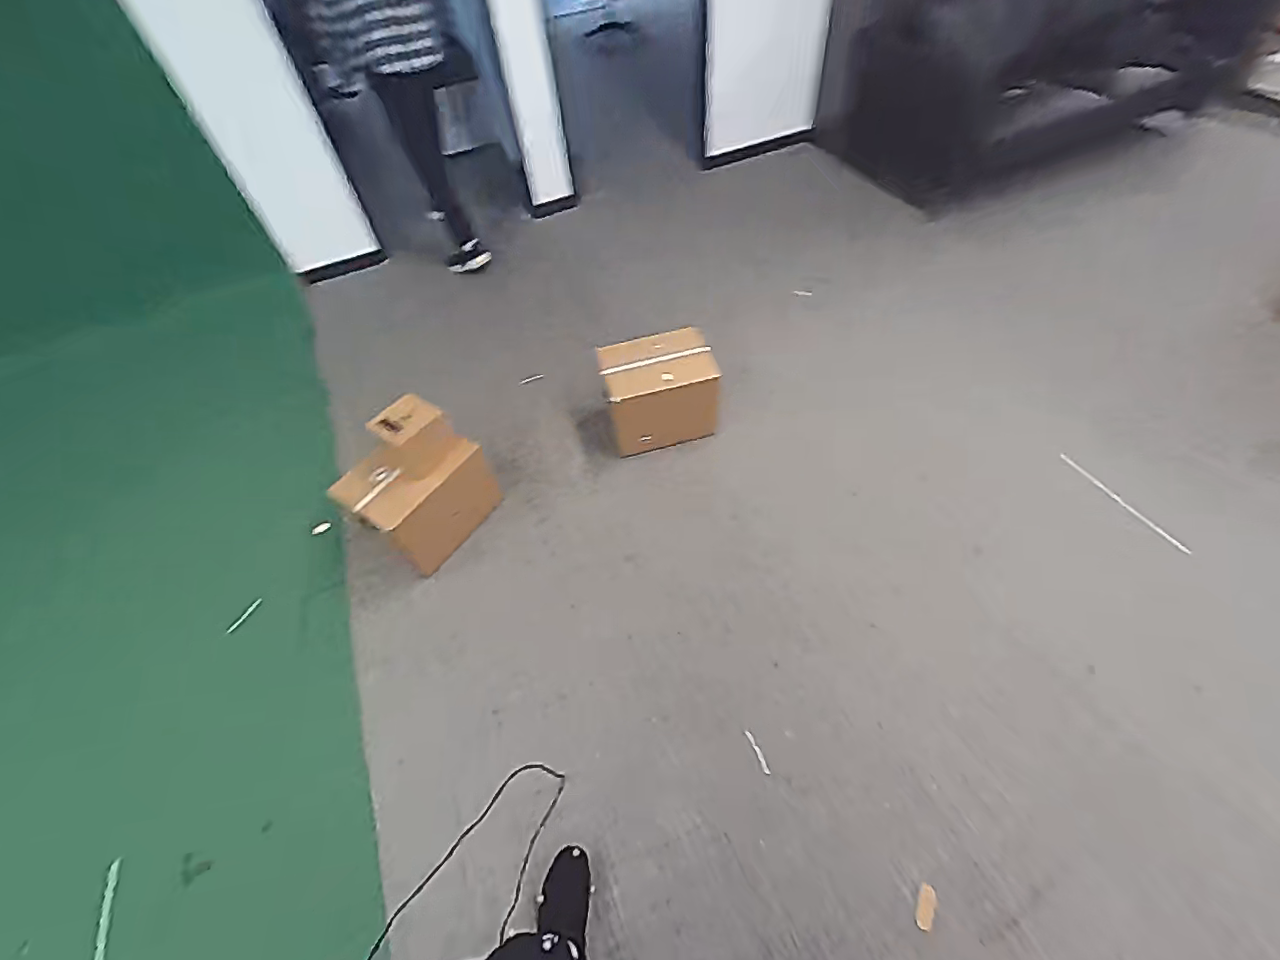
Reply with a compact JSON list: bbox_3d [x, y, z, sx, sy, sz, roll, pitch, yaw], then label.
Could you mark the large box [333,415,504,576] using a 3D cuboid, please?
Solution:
[{"bbox_3d":[-0.751,0.051,1.897,0.320,0.320,0.408,25,59,23],"label":"large box"}]
